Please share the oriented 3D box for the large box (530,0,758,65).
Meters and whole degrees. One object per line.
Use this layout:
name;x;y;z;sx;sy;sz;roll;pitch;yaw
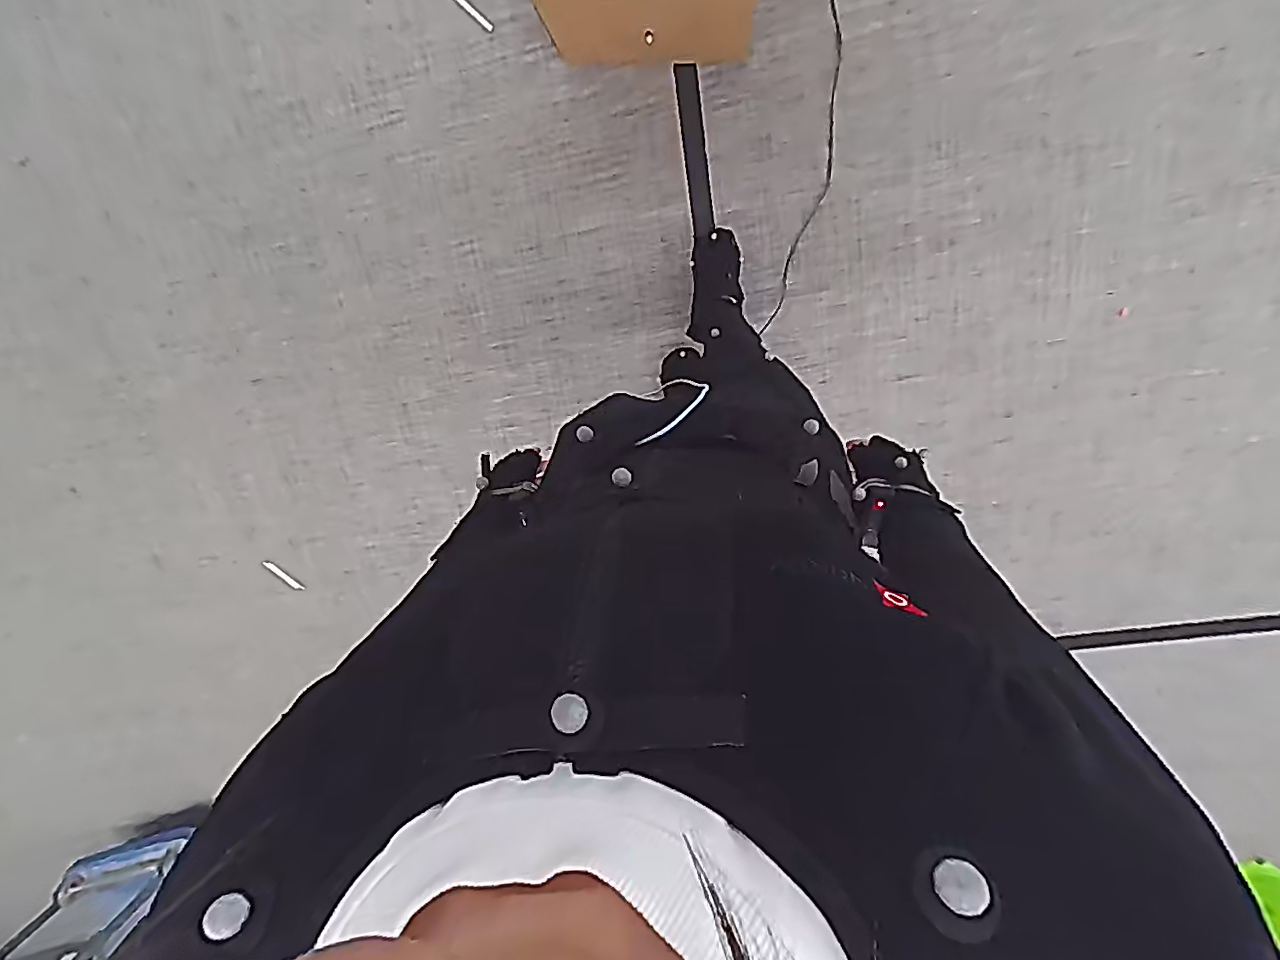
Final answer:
large box;0.020;-1.013;0.998;0.408;0.320;0.320;4;107;6
